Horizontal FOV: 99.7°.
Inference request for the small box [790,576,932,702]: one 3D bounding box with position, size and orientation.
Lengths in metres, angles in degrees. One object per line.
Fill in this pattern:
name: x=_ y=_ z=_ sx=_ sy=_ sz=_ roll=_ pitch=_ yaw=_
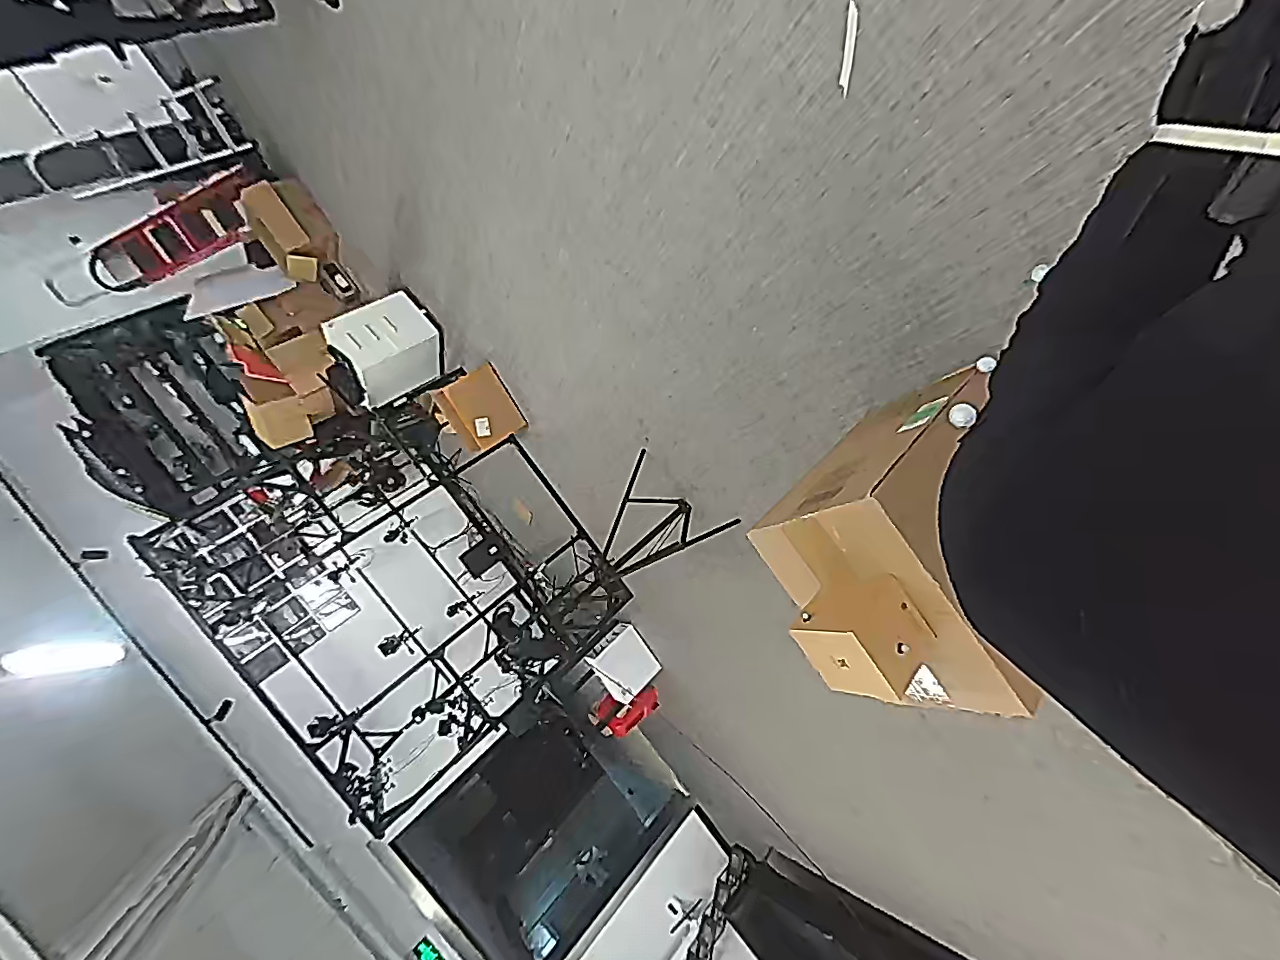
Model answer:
small box: x=0.441 y=0.304 z=1.066 sx=0.168 sy=0.176 sz=0.179 roll=54 pitch=152 yaw=-5
